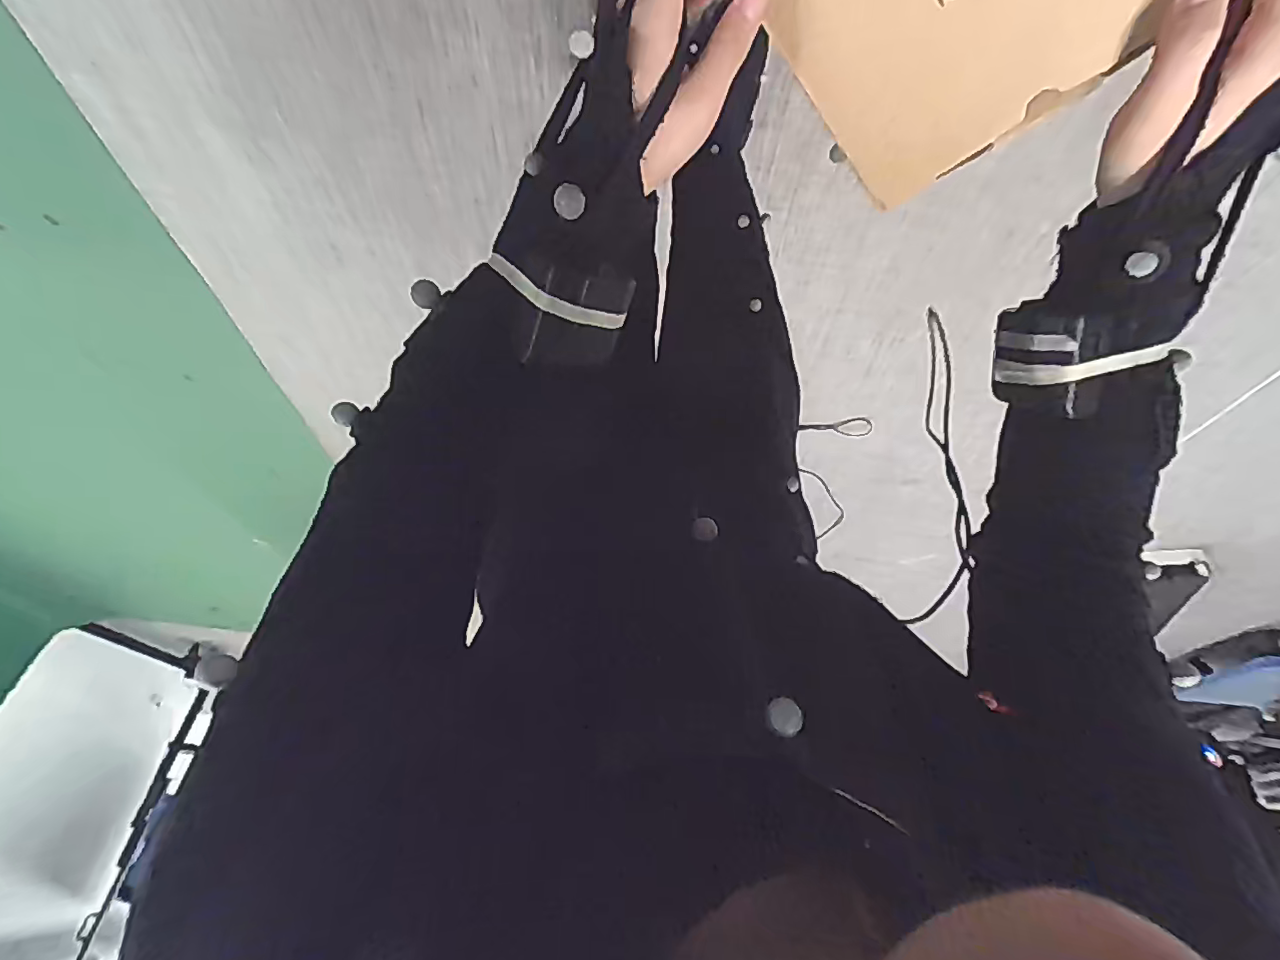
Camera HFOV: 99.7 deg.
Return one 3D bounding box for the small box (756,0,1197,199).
[{"bbox_3d":[0.166,-0.297,0.275,0.179,0.176,0.168,41,143,-23],"label":"small box"}]
